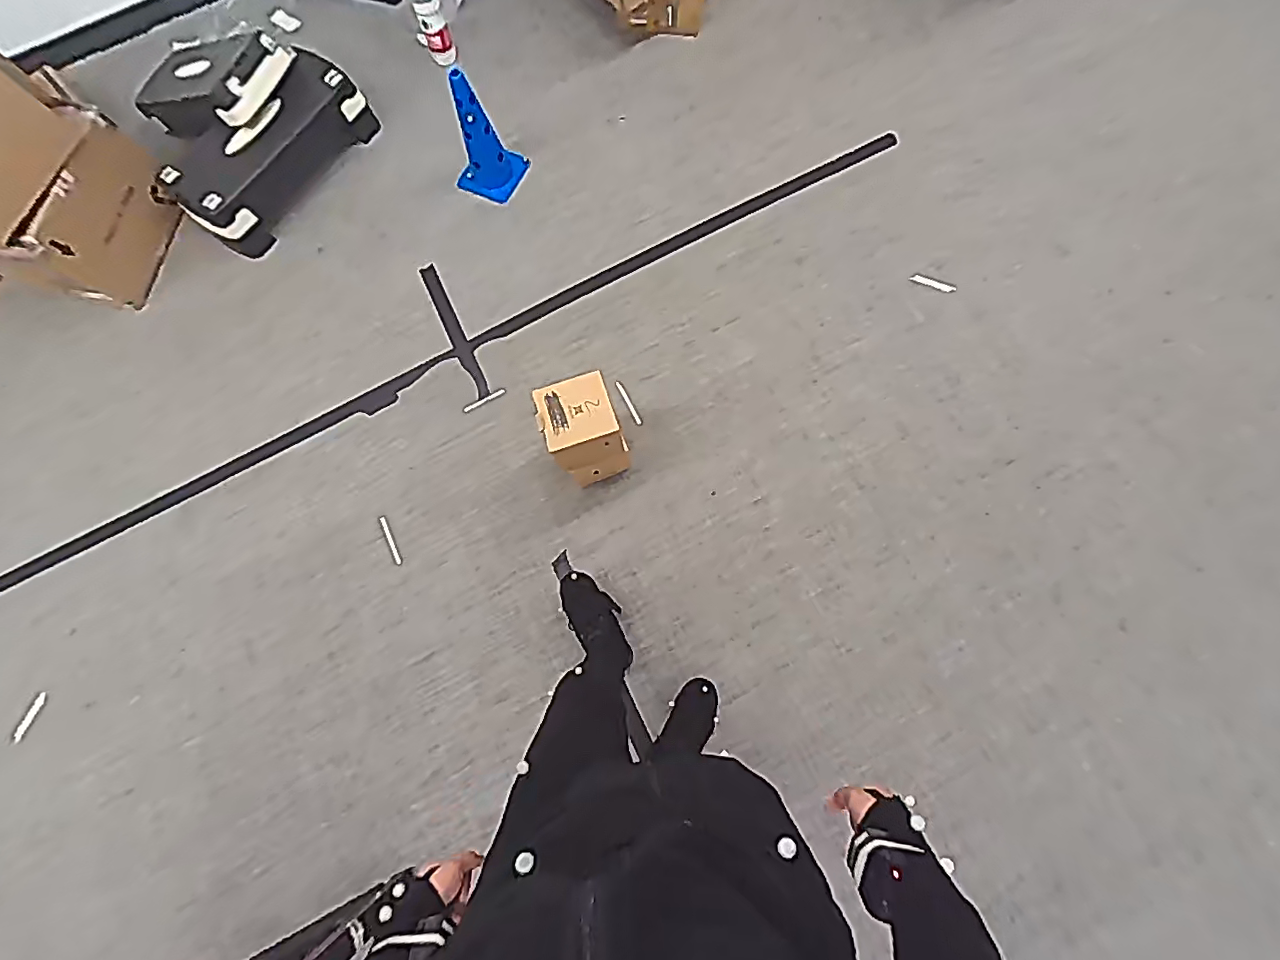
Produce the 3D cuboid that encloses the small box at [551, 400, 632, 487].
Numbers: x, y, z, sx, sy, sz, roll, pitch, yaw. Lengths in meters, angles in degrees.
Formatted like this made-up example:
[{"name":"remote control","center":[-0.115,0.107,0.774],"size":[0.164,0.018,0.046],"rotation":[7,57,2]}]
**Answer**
[{"name":"small box","center":[-0.130,-0.092,1.520],"size":[0.168,0.176,0.179],"rotation":[-23,75,-3]}]
